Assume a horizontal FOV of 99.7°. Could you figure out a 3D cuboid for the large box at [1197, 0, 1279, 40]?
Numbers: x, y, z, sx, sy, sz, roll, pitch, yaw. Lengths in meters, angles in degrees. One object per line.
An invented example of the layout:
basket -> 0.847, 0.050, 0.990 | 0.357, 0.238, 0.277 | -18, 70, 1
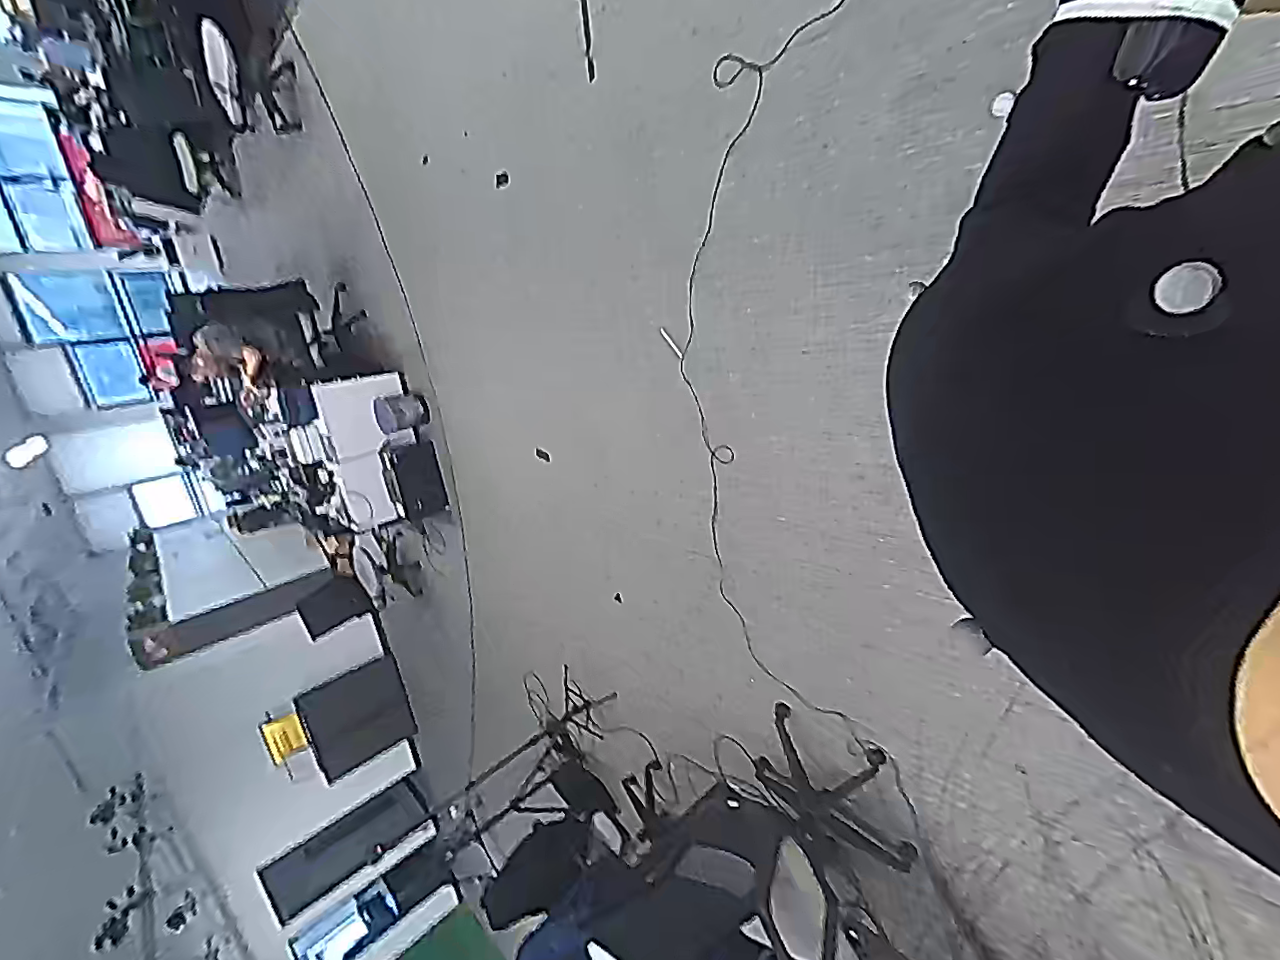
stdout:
large box -> 0.565, -0.416, 0.219 | 0.408, 0.320, 0.320 | 26, 130, 34
